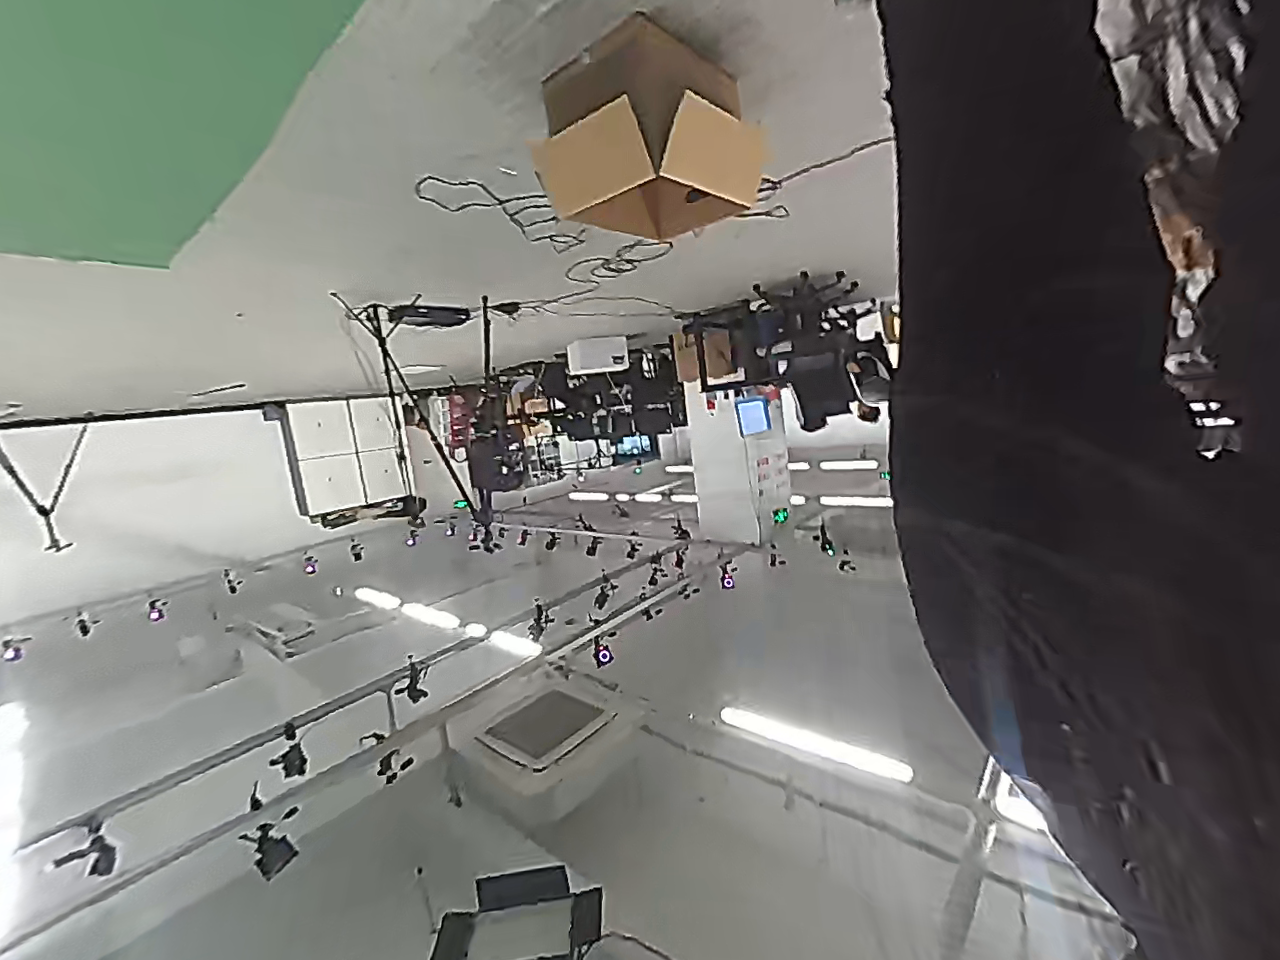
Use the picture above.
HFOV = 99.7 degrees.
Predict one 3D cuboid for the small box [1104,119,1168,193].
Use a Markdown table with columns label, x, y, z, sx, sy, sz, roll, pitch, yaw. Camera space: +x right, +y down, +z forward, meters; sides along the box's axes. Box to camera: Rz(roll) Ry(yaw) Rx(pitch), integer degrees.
| label | x | y | z | sx | sy | sz | roll | pitch | yaw |
| --- | --- | --- | --- | --- | --- | --- | --- | --- | --- |
| small box | 1.884 | -1.230 | 2.058 | 0.179 | 0.176 | 0.168 | -1 | -171 | 42 |
